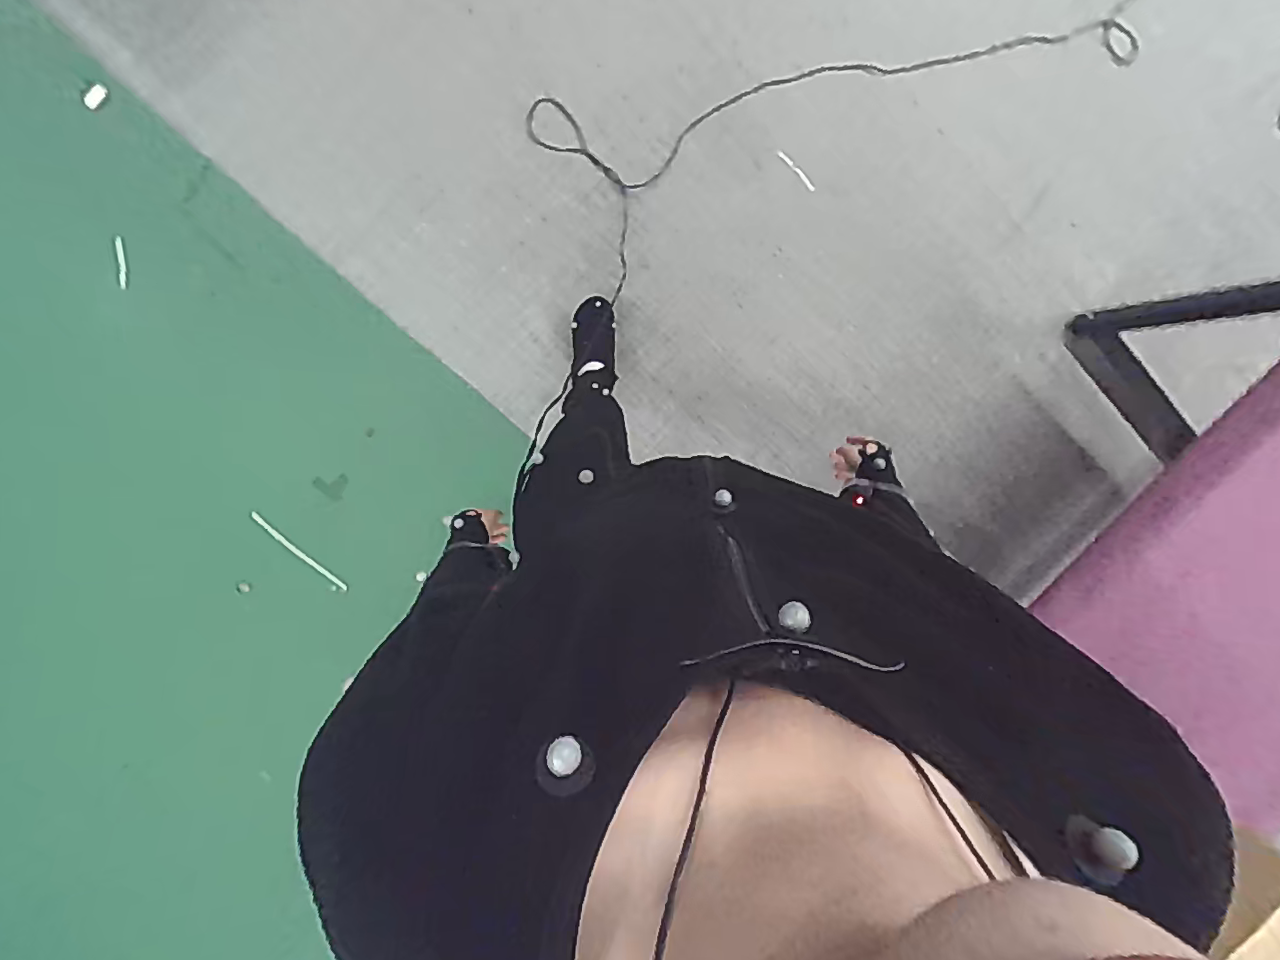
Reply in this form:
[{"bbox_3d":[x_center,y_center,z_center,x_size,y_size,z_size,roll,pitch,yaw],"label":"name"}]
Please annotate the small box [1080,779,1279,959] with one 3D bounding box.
[{"bbox_3d":[0.692,0.501,0.638,0.179,0.176,0.168,41,92,-10],"label":"small box"}]
